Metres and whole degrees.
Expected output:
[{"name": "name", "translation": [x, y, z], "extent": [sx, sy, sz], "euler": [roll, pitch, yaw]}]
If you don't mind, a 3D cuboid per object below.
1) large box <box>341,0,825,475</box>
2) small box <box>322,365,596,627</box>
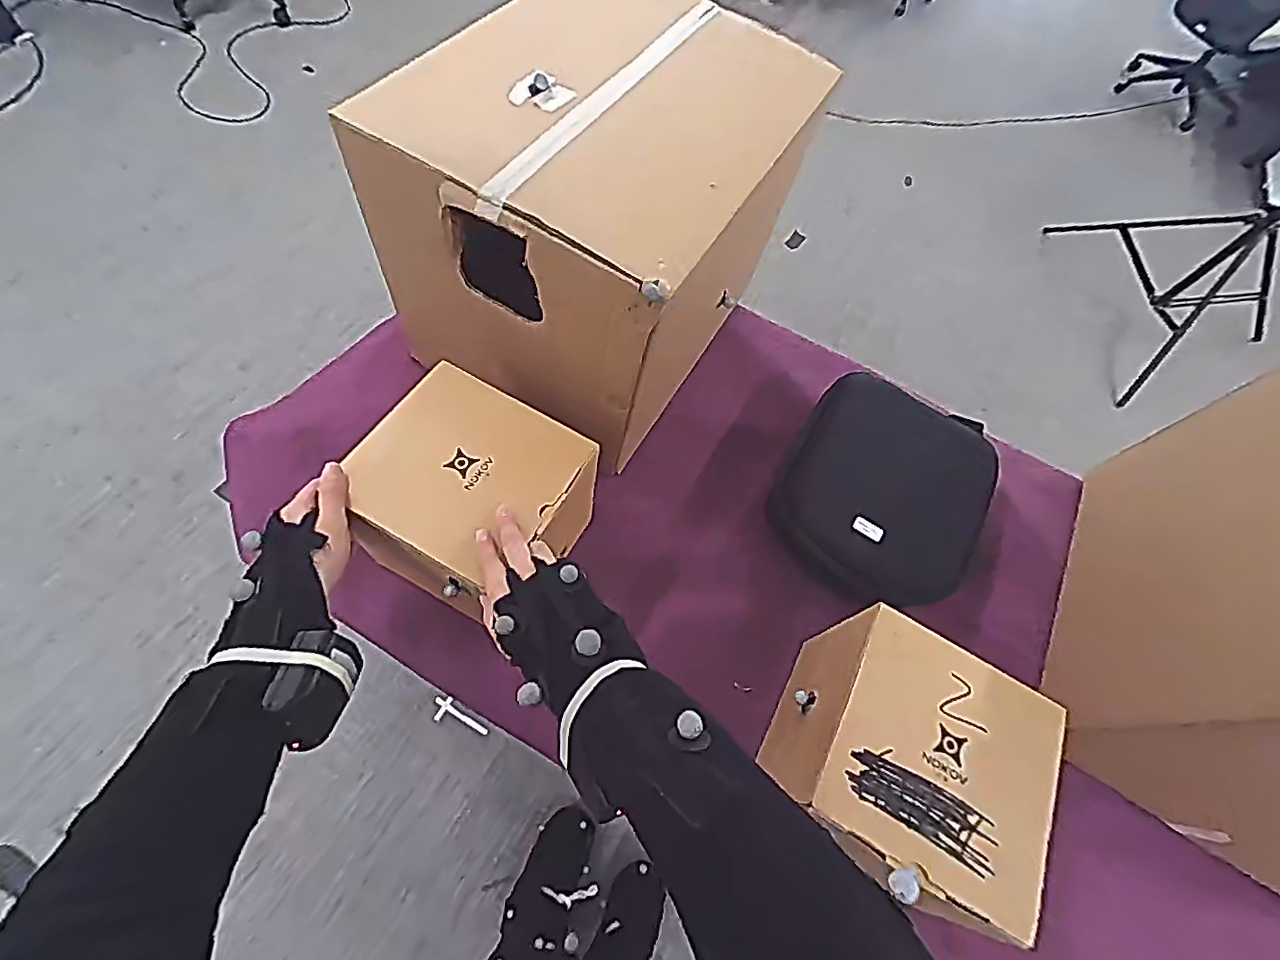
[{"name": "large box", "translation": [-0.043, -0.287, 0.641], "extent": [0.320, 0.320, 0.408], "euler": [29, 64, 6]}, {"name": "small box", "translation": [-0.164, 0.025, 0.541], "extent": [0.179, 0.176, 0.168], "euler": [28, 61, 6]}]
